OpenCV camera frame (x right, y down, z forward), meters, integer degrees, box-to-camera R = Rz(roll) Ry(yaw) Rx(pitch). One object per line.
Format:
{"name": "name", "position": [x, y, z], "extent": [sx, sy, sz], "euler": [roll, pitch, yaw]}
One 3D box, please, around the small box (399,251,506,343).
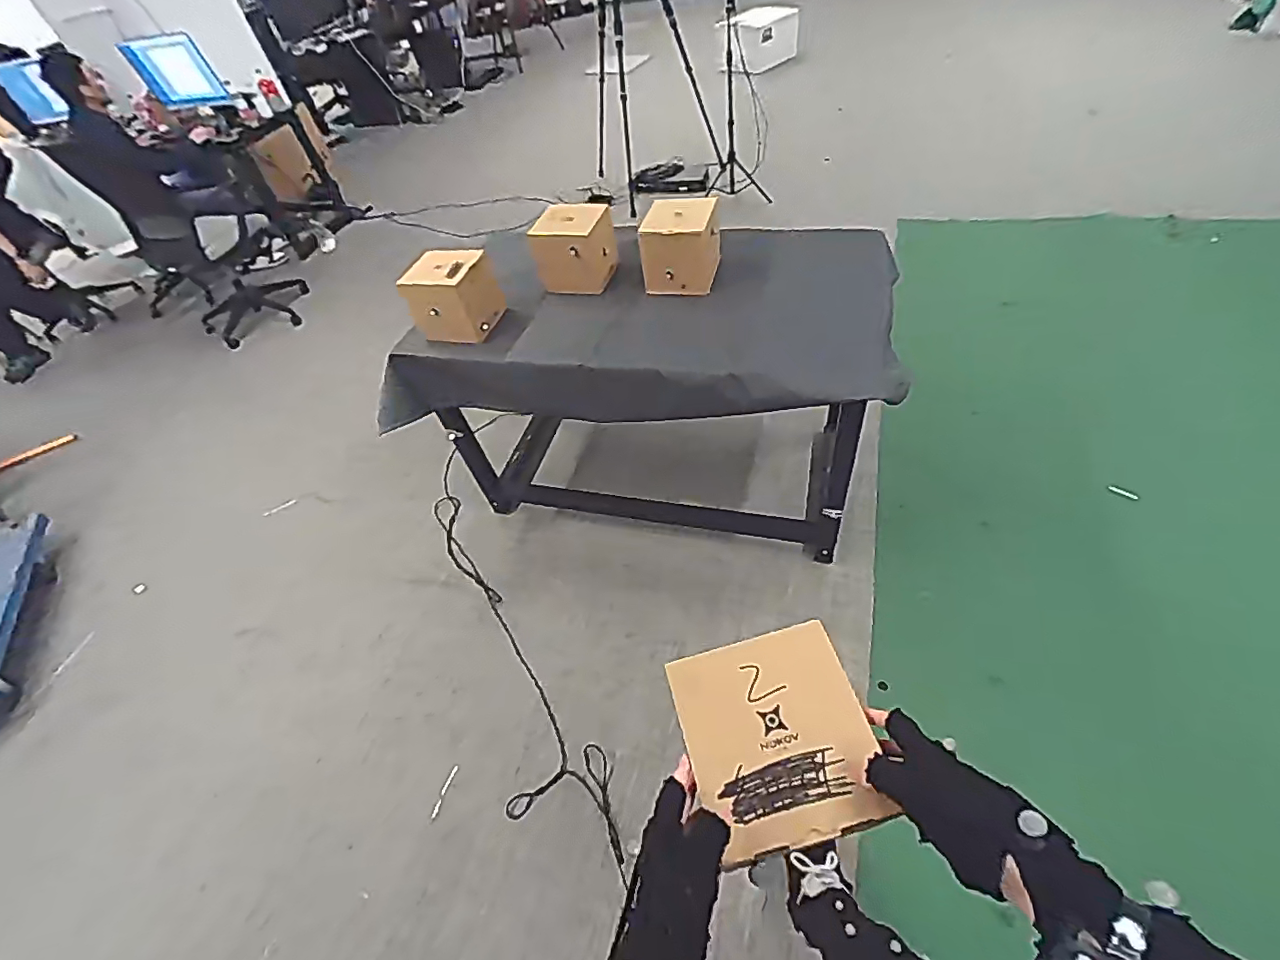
{"name": "small box", "position": [-0.474, -0.470, 1.399], "extent": [0.179, 0.176, 0.168], "euler": [7, 51, 17]}

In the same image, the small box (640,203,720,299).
{"name": "small box", "position": [0.110, -0.592, 1.394], "extent": [0.168, 0.176, 0.179], "euler": [8, 53, 17]}

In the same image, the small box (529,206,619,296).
{"name": "small box", "position": [-0.169, -0.618, 1.464], "extent": [0.179, 0.176, 0.168], "euler": [9, 53, 18]}
